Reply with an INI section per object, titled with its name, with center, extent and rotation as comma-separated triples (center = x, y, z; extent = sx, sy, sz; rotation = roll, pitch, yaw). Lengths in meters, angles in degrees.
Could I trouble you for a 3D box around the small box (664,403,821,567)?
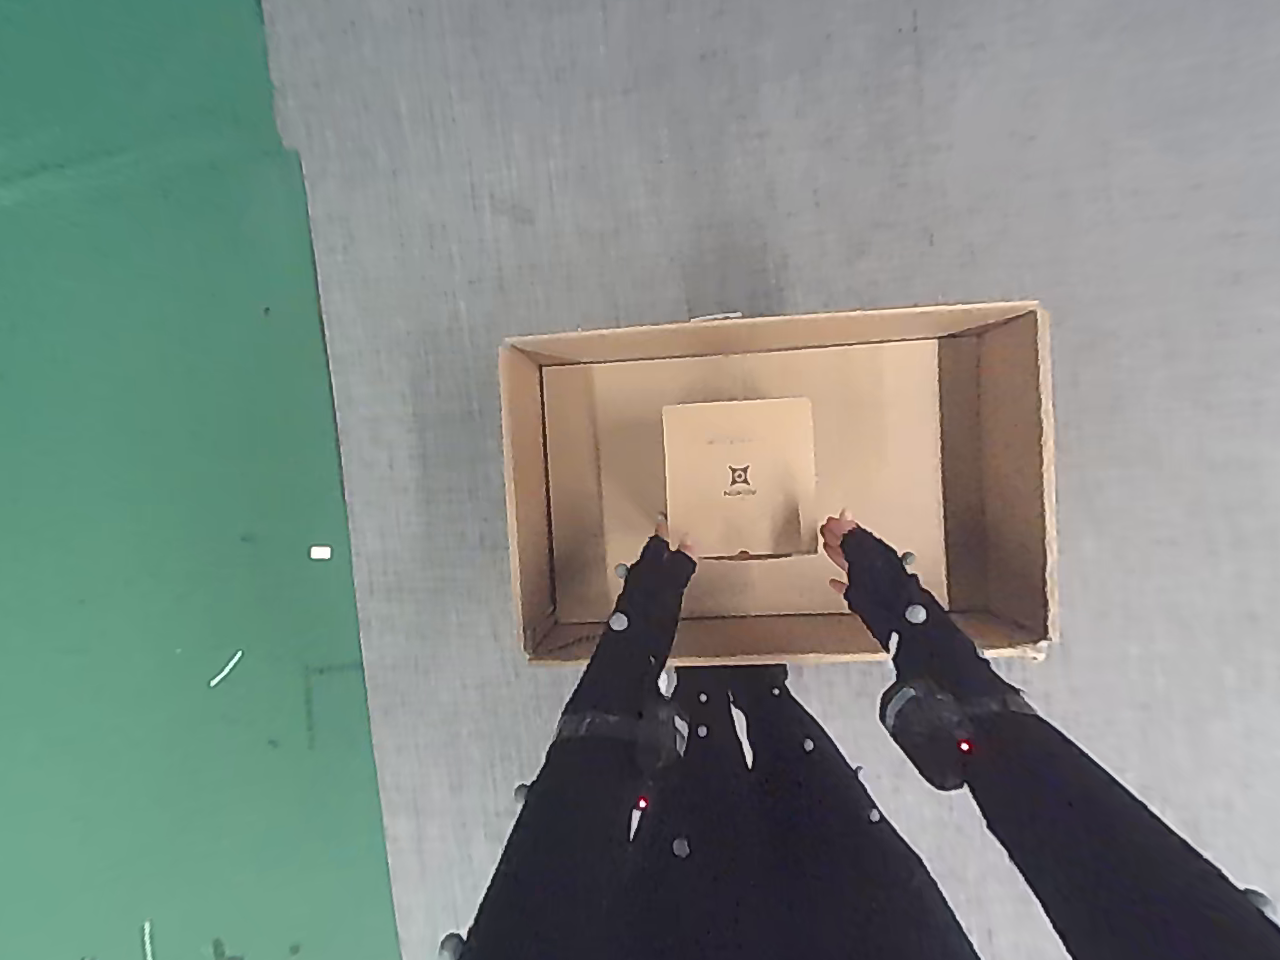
[small box]
center = 0.117, 0.005, 0.674
extent = 0.168, 0.176, 0.179
rotation = -4, 90, 3
